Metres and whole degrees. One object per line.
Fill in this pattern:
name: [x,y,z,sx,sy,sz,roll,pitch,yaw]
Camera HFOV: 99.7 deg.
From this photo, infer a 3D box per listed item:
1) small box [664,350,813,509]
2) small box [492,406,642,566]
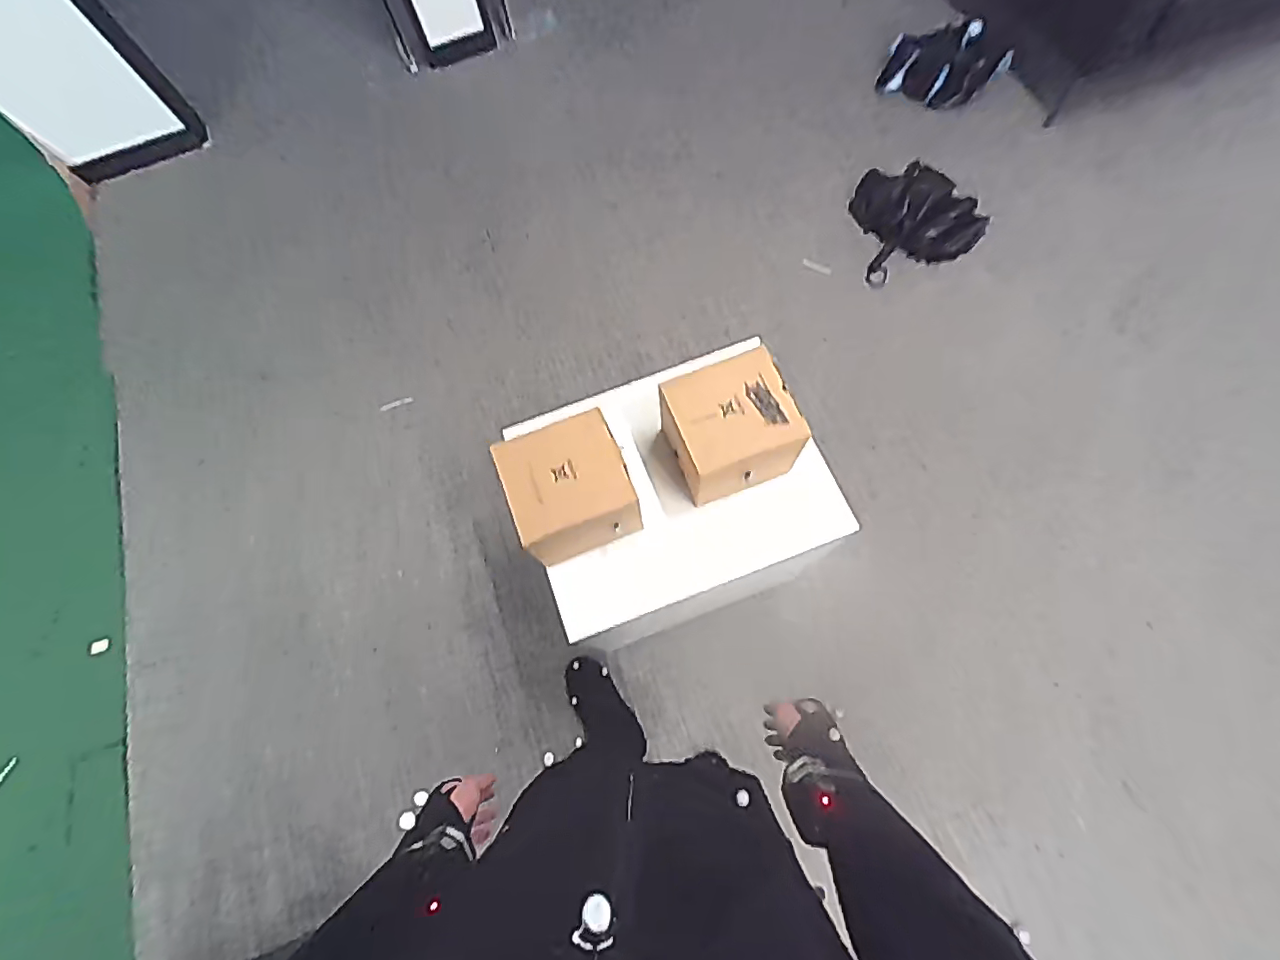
small box: [0.144,-0.073,0.863,0.179,0.176,0.168,-19,70,-4]
small box: [-0.105,0.017,0.840,0.179,0.176,0.168,-21,69,-6]
